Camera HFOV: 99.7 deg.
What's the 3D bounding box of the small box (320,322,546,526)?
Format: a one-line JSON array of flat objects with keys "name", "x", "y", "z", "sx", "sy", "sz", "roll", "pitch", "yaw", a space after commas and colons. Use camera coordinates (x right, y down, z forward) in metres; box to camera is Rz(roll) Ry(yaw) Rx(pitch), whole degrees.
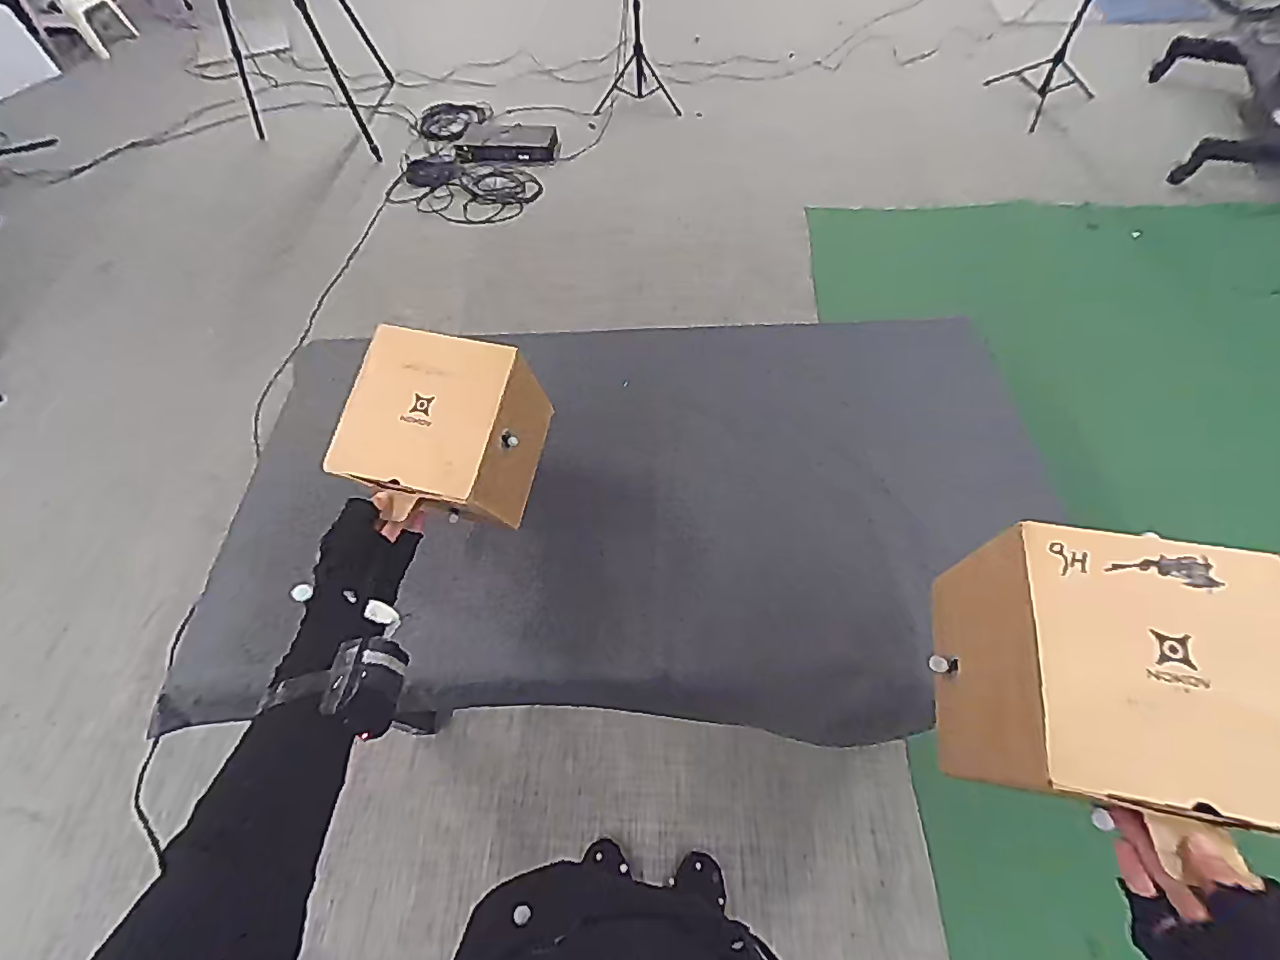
[{"name": "small box", "x": -0.222, "y": -0.054, "z": 0.633, "sx": 0.168, "sy": 0.176, "sz": 0.179, "roll": 12, "pitch": 76, "yaw": 7}]
